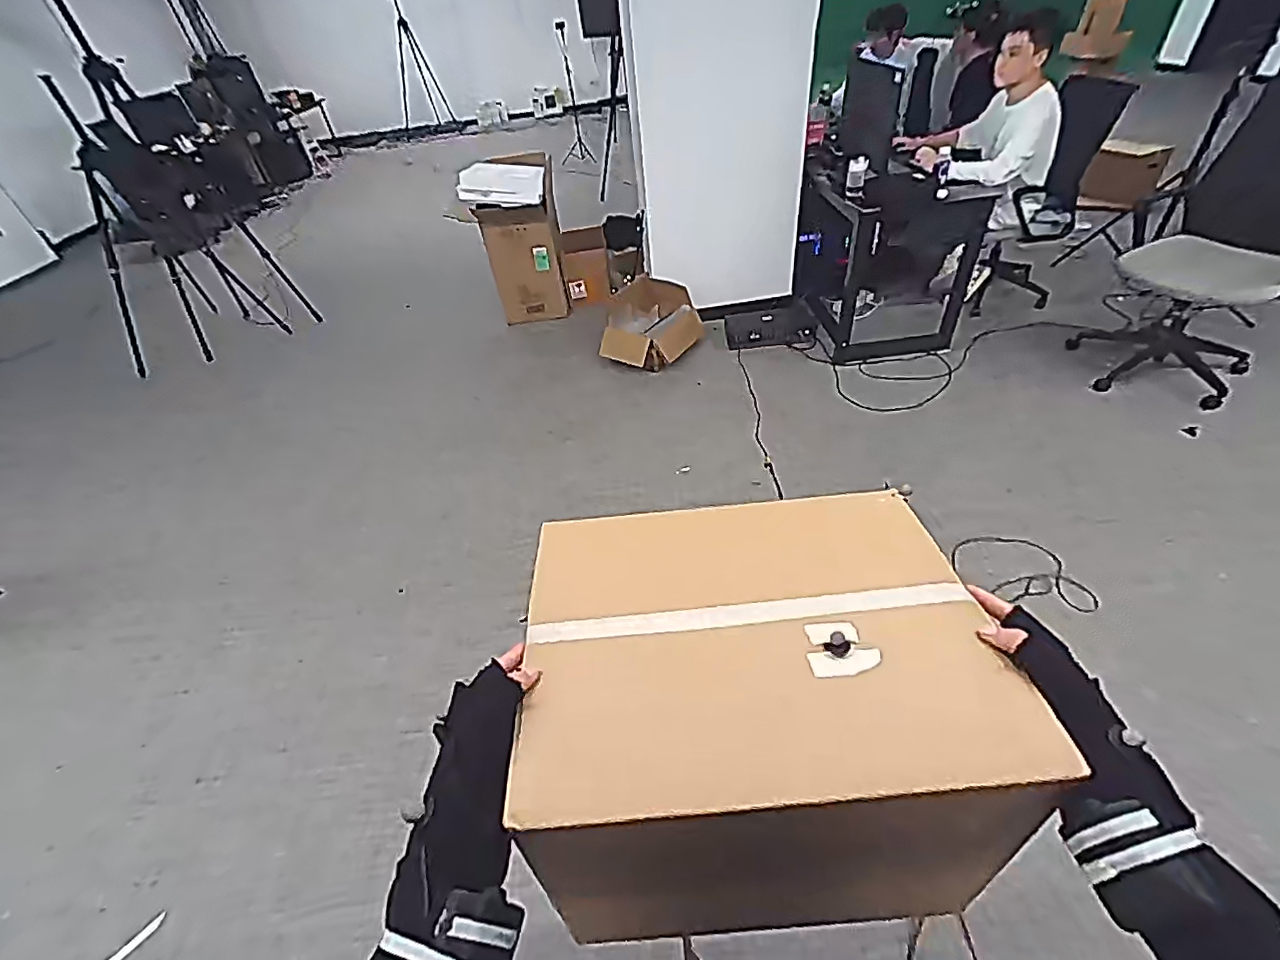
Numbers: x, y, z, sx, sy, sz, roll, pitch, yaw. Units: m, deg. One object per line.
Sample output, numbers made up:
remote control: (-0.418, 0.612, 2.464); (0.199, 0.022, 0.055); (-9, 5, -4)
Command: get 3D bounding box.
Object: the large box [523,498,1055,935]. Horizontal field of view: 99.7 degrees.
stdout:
large box: (0.112, 0.251, 0.600); (0.408, 0.320, 0.320); (-6, 38, 1)
